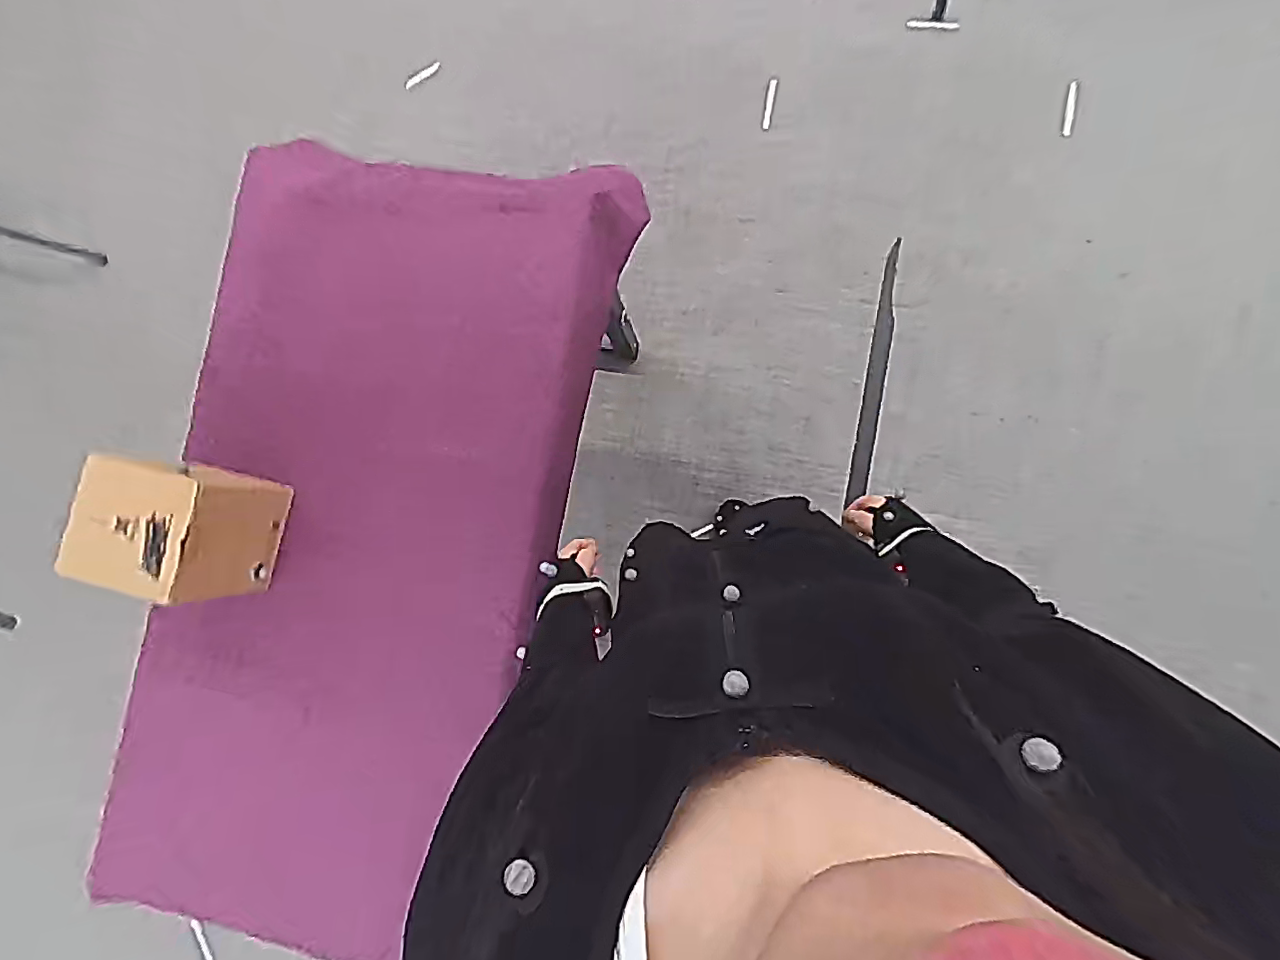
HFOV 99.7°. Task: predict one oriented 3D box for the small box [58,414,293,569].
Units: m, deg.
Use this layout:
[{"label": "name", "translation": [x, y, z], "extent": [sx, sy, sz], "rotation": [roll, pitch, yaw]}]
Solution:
[{"label": "small box", "translation": [-0.652, 0.018, 0.782], "extent": [0.179, 0.176, 0.168], "rotation": [16, 88, 6]}]
